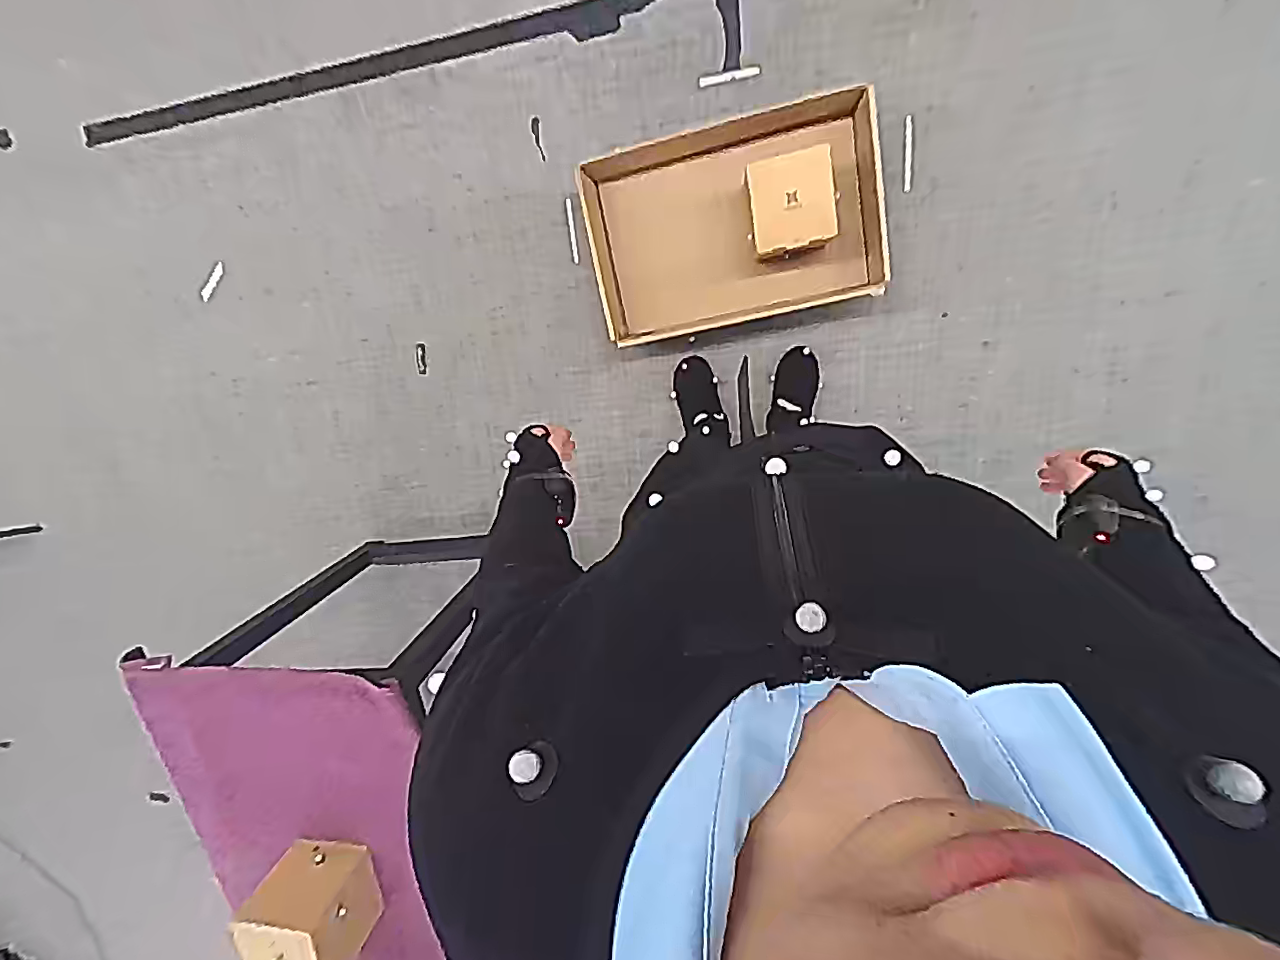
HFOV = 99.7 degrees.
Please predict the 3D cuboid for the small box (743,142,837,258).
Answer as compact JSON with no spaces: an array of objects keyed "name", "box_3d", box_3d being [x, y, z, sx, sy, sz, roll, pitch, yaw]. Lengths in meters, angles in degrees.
[{"name":"small box","box_3d":[0.319,-0.595,1.172,0.168,0.176,0.179,-9,106,12]}]
